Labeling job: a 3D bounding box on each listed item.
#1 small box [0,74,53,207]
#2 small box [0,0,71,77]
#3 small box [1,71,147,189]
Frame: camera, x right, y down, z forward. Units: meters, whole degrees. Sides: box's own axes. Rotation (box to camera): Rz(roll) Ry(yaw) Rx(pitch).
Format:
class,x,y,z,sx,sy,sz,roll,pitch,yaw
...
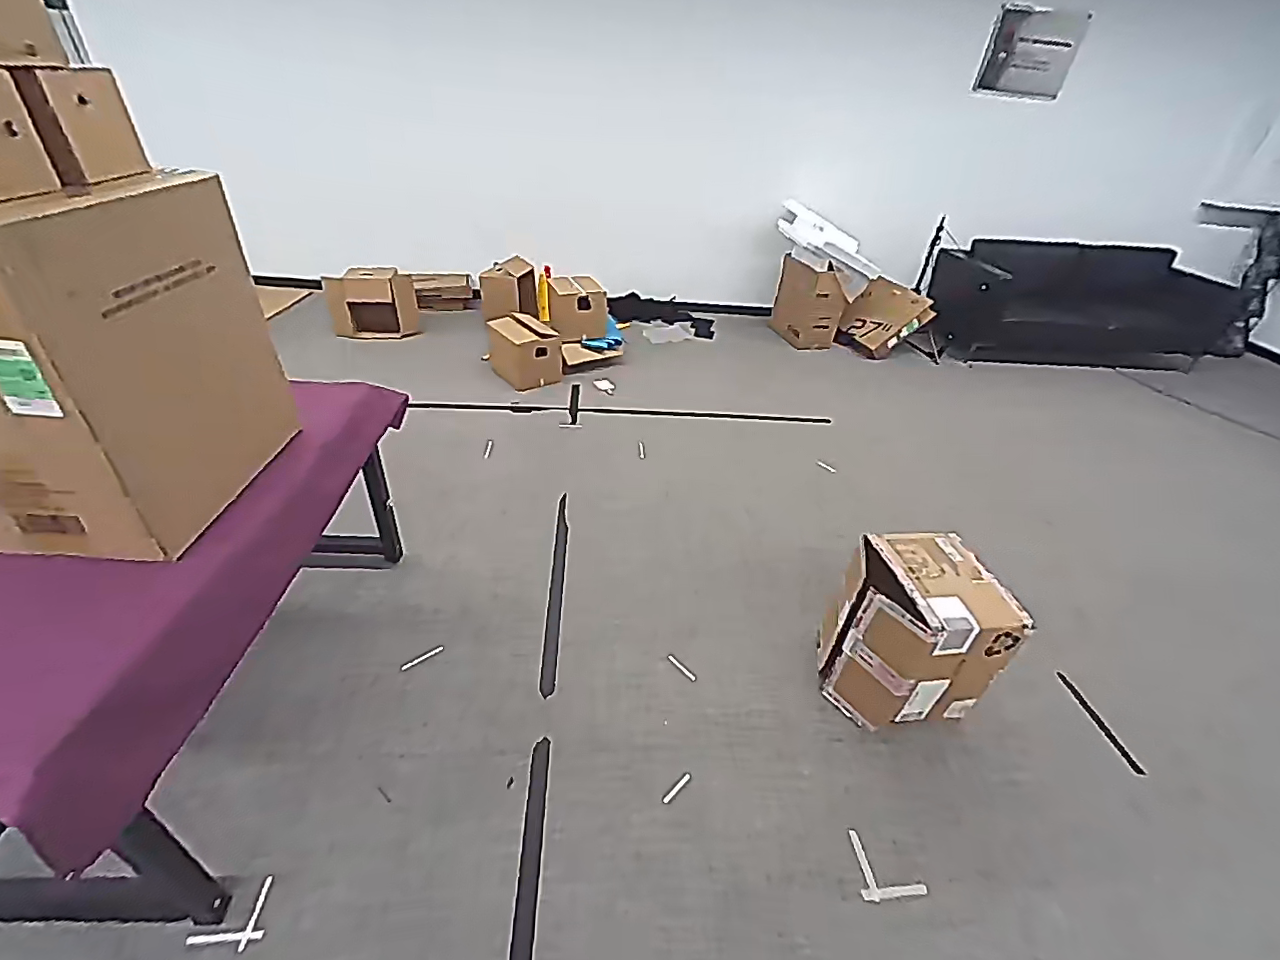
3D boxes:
class,x,y,z,sx,sy,sz,roll,pitch,yaw
small box,-1.032,-0.497,0.786,0.168,0.176,0.179,0,35,-6
small box,-1.036,-0.709,0.800,0.179,0.176,0.168,5,37,2
small box,-1.049,-0.628,0.966,0.168,0.176,0.179,1,36,-6
